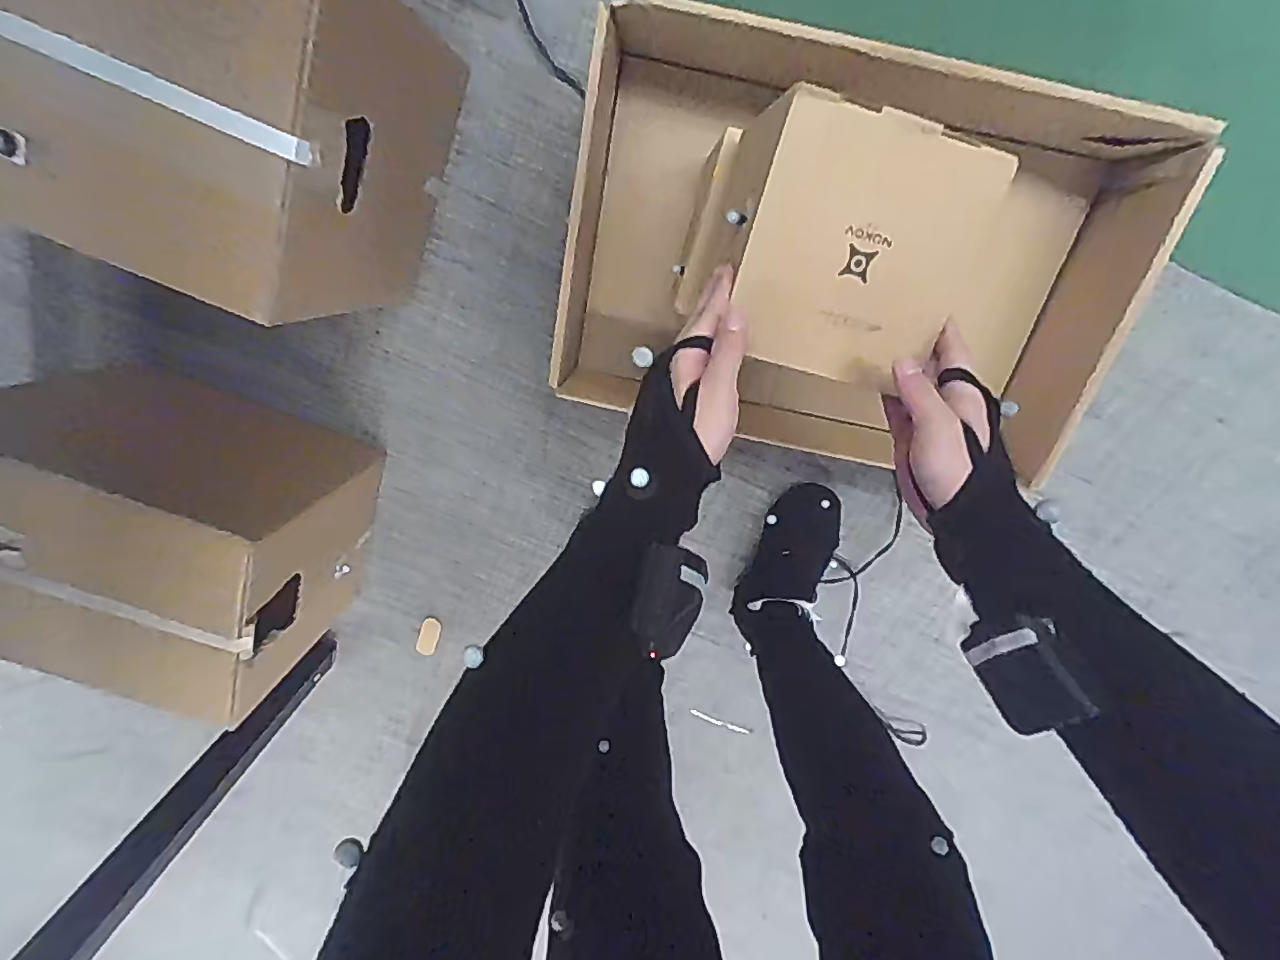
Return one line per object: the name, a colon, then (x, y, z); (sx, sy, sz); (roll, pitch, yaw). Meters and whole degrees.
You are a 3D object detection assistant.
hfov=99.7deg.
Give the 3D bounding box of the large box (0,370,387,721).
large box: (-0.651, 0.072, 0.787); (0.408, 0.320, 0.320); (20, 111, -4)
